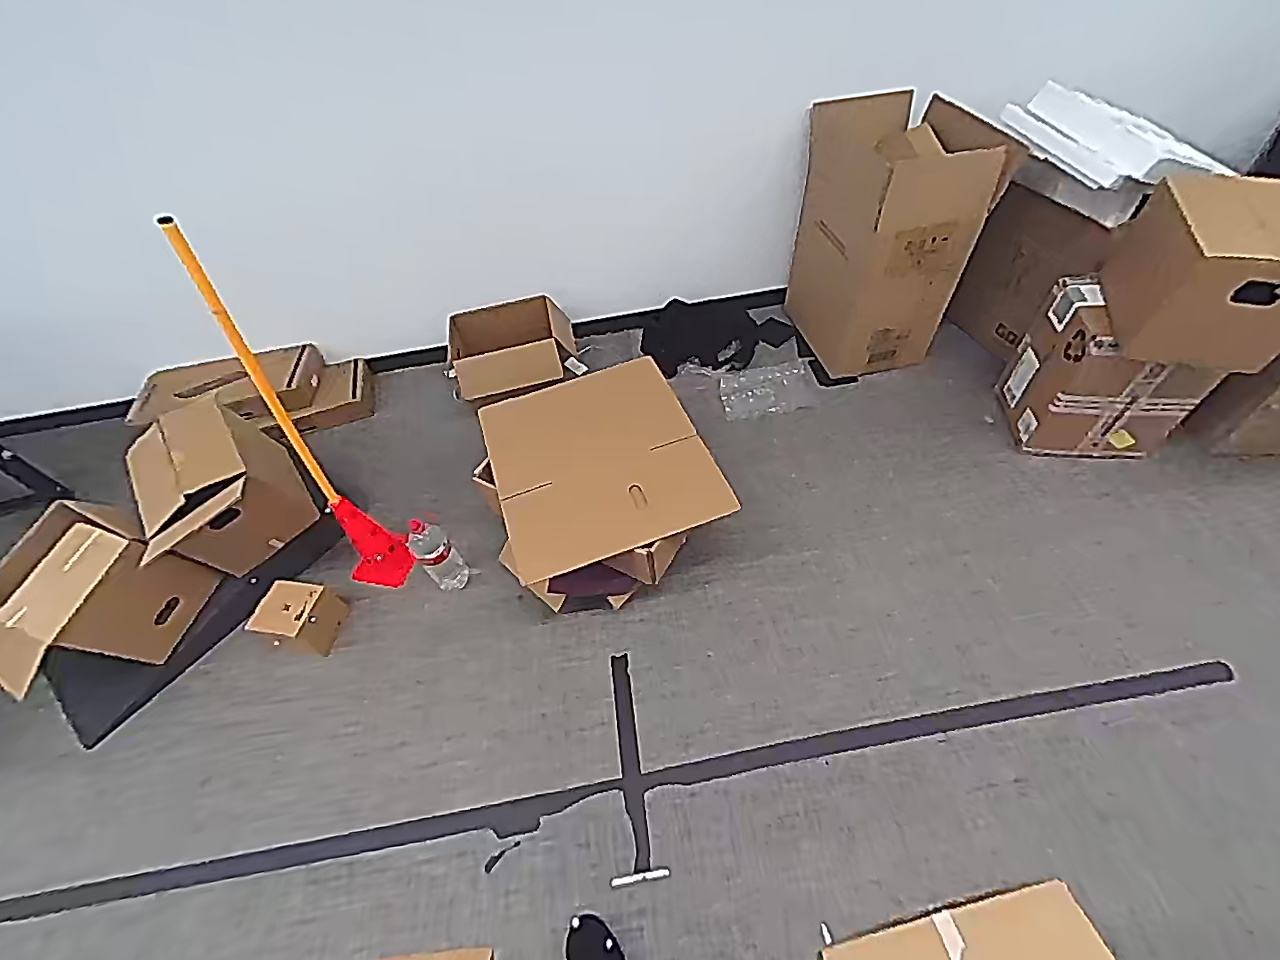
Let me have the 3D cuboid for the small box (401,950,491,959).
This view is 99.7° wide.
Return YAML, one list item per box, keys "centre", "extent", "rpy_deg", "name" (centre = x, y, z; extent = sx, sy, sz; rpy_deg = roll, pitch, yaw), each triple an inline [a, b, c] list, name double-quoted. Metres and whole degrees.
- centre: [-0.275, 0.743, 0.665]
  extent: [0.168, 0.176, 0.179]
  rpy_deg: [-1, 9, -5]
  name: "small box"
